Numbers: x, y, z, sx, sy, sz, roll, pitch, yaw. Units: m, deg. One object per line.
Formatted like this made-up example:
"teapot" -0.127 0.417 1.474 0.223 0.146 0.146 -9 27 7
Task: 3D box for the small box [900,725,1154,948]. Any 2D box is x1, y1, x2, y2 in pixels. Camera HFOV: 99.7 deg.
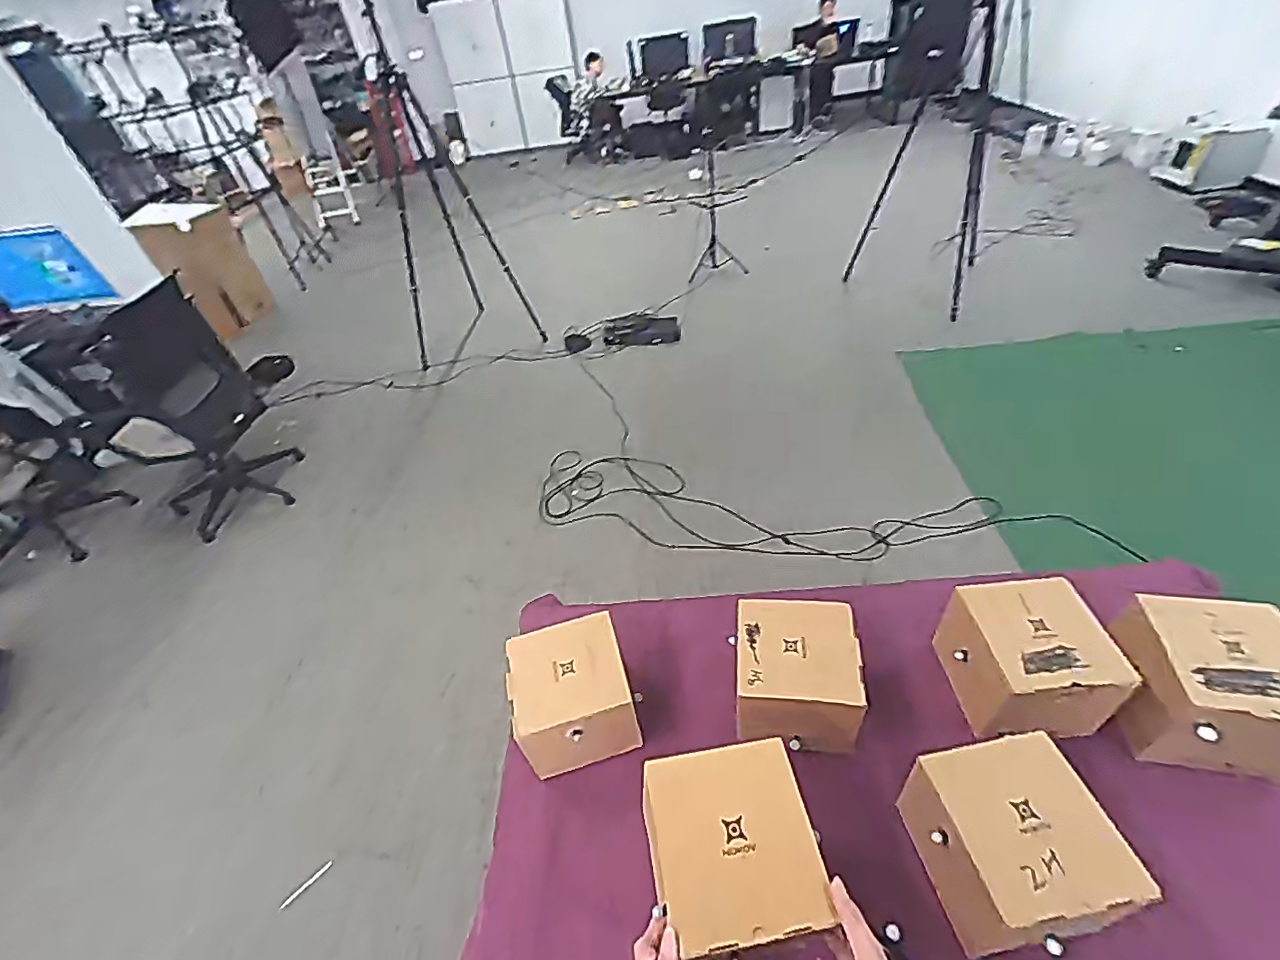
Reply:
"small box" 0.449 0.438 0.668 0.168 0.176 0.179 -11 41 -1

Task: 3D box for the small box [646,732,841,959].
"small box" 0.100 0.420 0.623 0.168 0.176 0.179 -7 47 -6

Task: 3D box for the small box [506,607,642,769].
"small box" -0.106 0.342 0.883 0.179 0.176 0.168 -15 44 -6
